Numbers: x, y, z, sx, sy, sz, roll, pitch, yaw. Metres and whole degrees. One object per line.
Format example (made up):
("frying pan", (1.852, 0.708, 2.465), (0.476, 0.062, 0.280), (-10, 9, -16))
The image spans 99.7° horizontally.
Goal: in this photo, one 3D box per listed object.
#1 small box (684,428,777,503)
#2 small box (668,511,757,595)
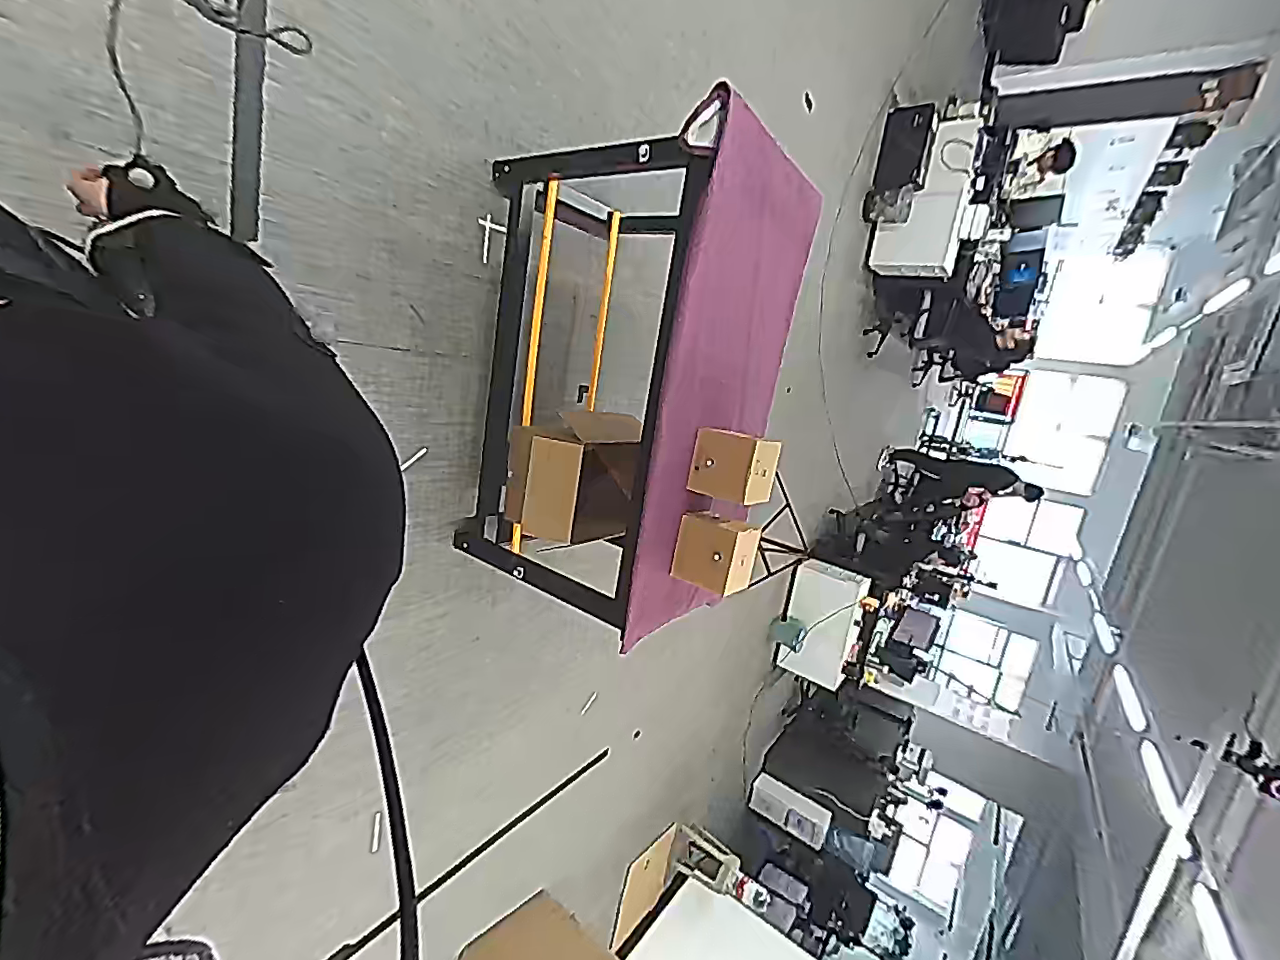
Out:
("small box", (0.239, -0.041, 1.436), (0.179, 0.176, 0.168), (-2, 105, -56))
("small box", (0.194, 0.192, 1.476), (0.168, 0.176, 0.179), (1, 103, -57))
